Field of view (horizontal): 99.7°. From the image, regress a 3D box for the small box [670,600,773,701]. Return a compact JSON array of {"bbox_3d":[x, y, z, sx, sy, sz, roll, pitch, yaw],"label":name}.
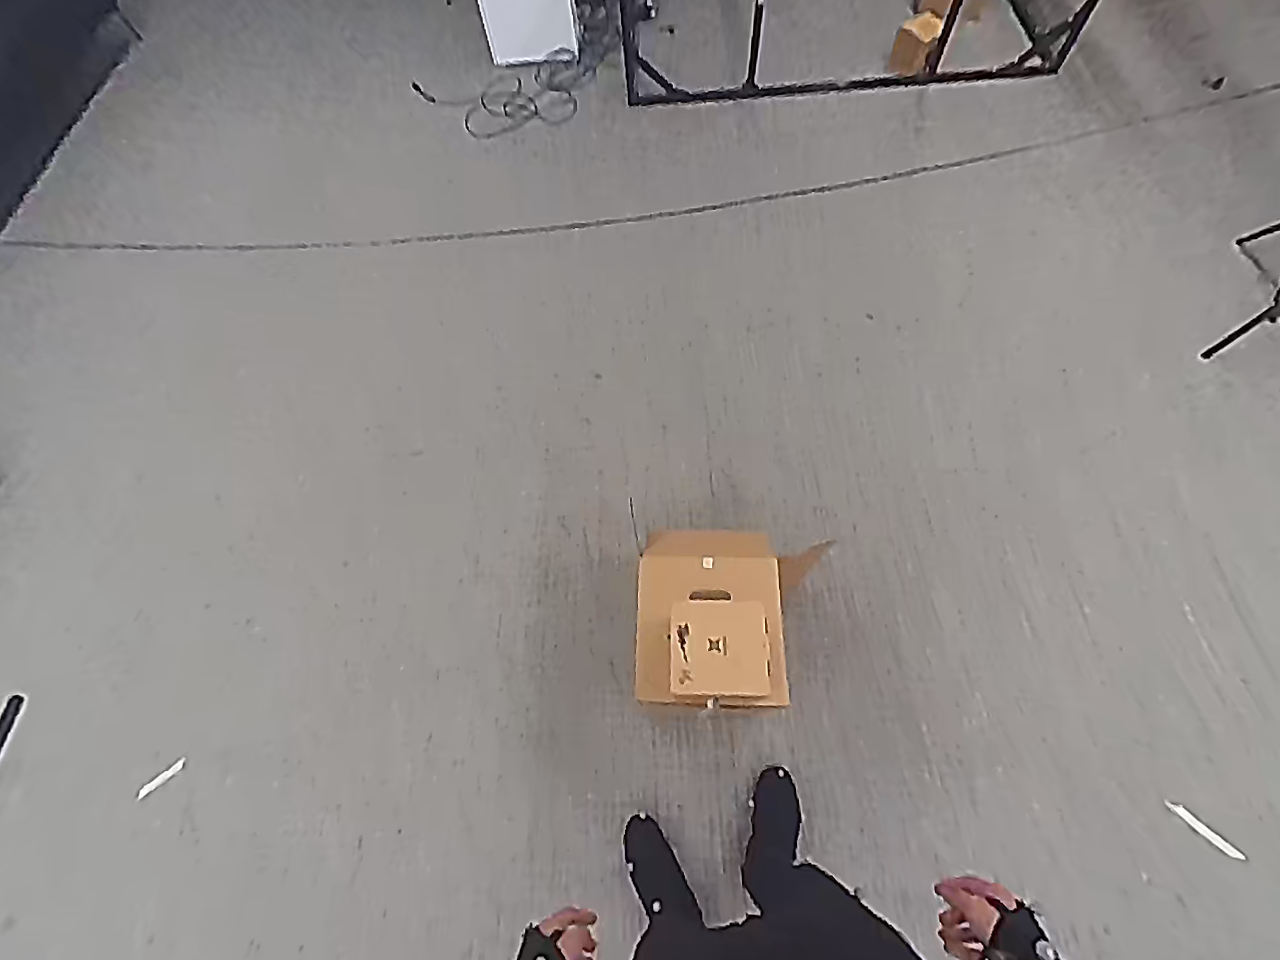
[{"bbox_3d":[0.147,0.329,1.034,0.179,0.176,0.168,0,65,3],"label":"small box"}]
